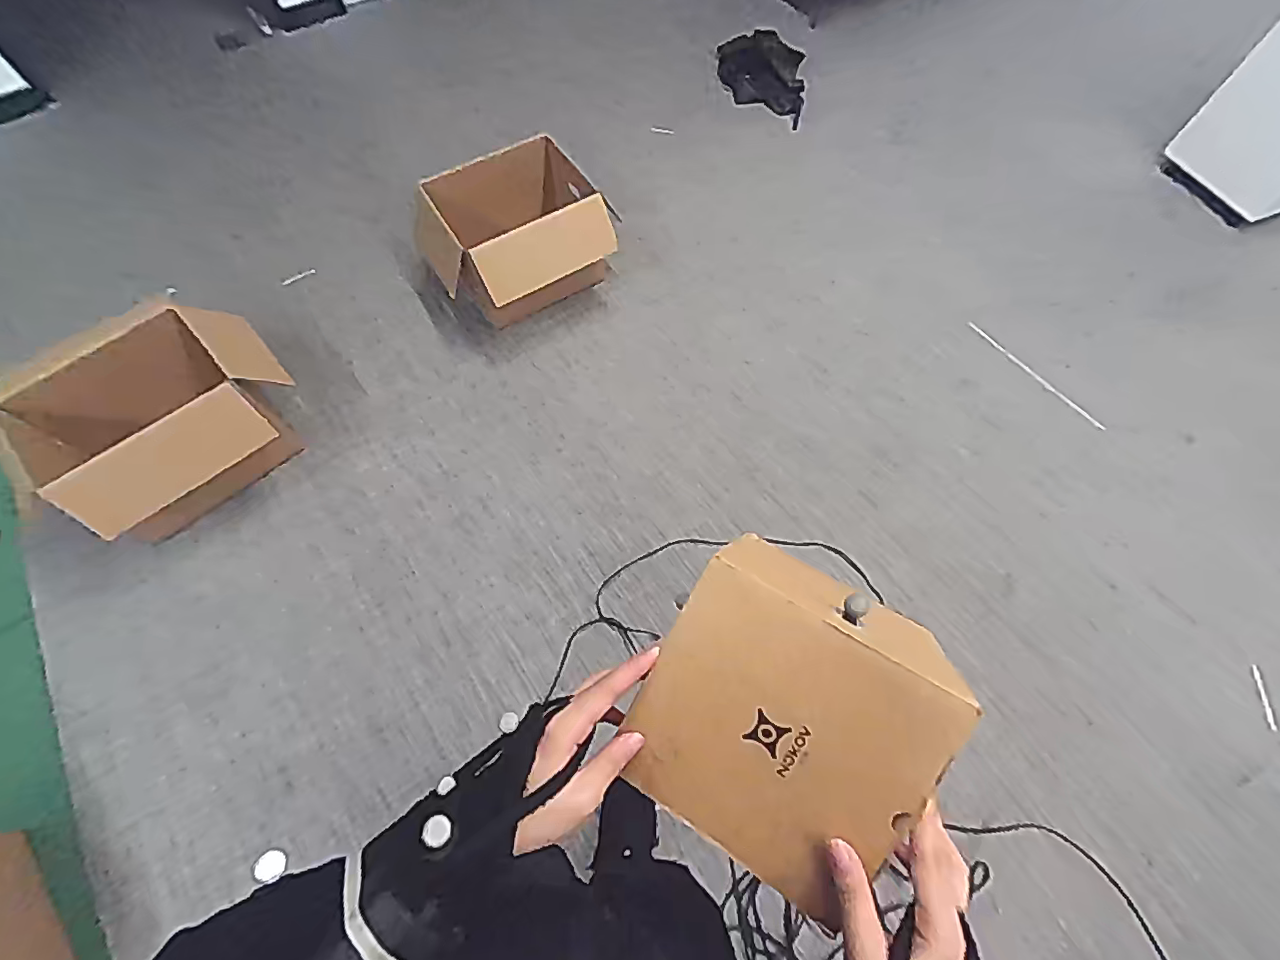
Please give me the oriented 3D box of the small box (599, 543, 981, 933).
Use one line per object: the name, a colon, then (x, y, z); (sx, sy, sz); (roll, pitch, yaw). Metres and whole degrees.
small box: (0.104, 0.158, 0.406); (0.179, 0.176, 0.168); (29, 98, 16)
